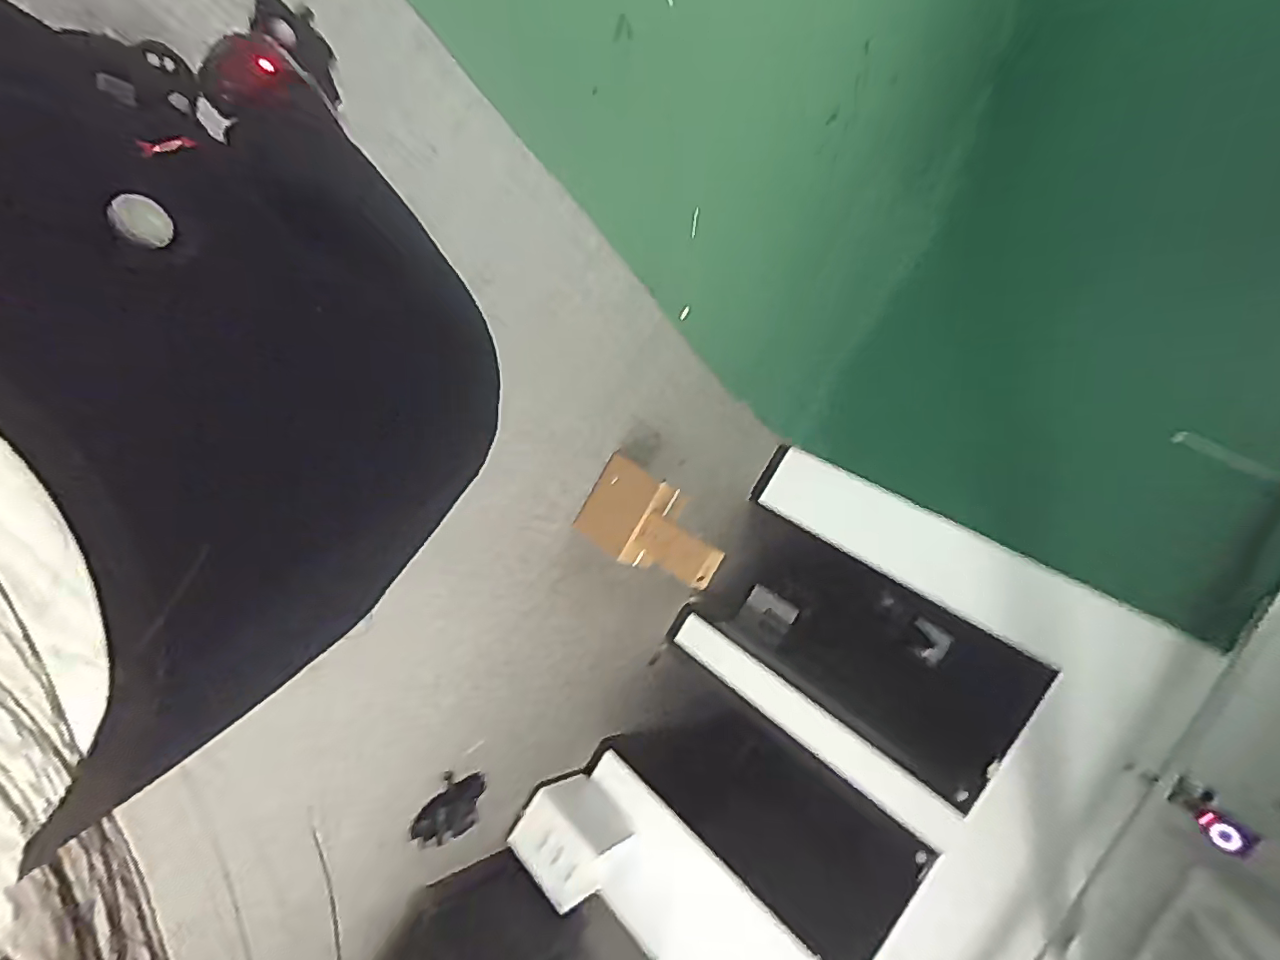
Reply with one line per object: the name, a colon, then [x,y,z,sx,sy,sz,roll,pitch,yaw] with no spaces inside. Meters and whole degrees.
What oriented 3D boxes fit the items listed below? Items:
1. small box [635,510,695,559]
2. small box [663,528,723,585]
small box: [0.109,0.248,2.402,0.179,0.176,0.168,22,99,-57]
small box: [0.220,0.329,2.311,0.168,0.176,0.179,20,102,-57]
